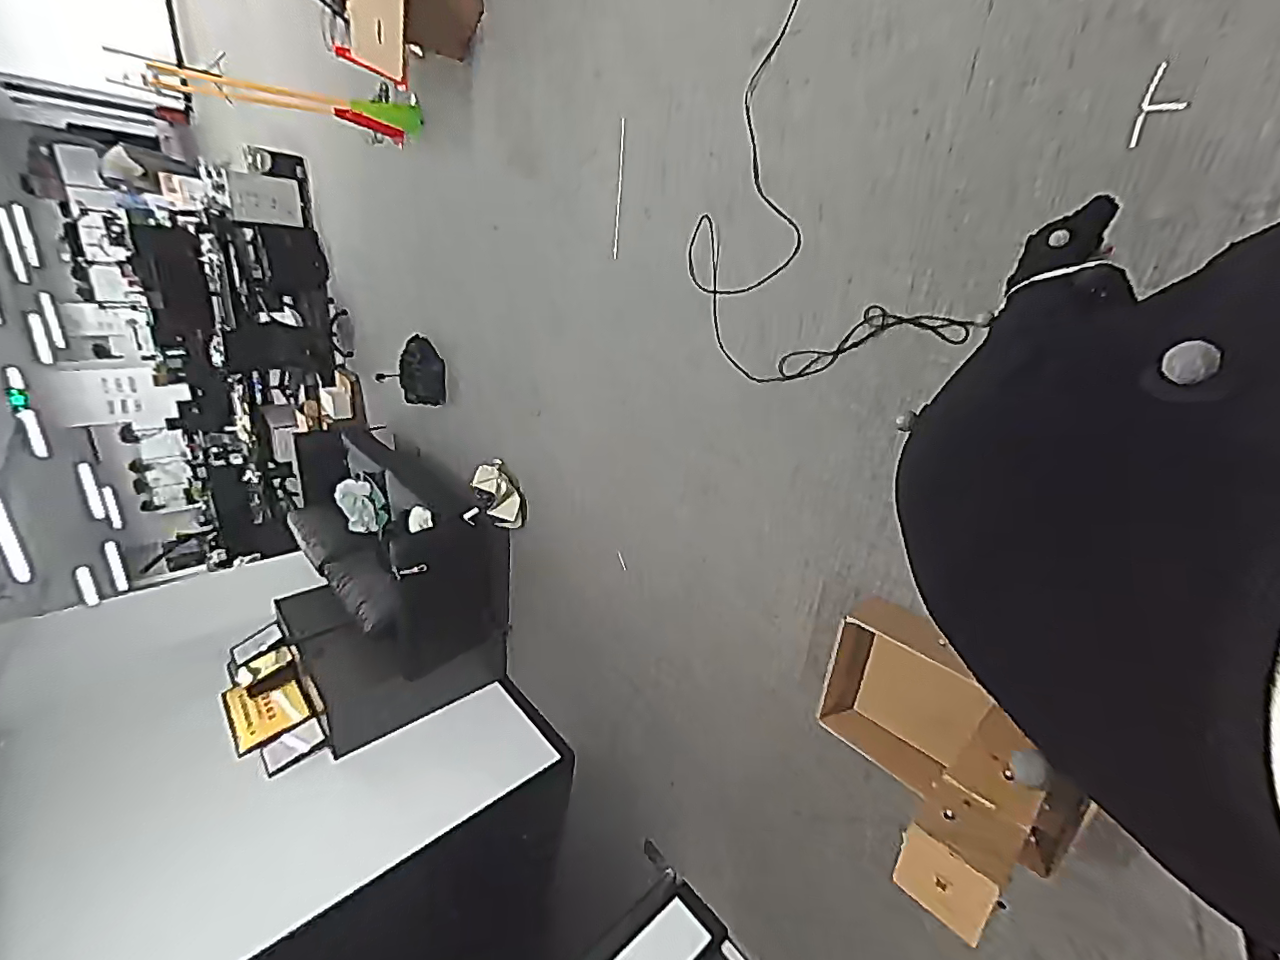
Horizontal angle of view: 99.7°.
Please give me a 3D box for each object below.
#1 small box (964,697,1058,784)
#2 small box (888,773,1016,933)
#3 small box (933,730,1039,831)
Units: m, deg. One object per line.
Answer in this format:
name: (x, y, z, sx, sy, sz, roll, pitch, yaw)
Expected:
small box: (0.887, 0.678, 1.325, 0.168, 0.176, 0.179, 28, 122, 41)
small box: (0.647, 0.757, 1.119, 0.168, 0.176, 0.179, 25, 121, 43)
small box: (0.766, 0.715, 1.222, 0.168, 0.176, 0.179, 26, 121, 42)
